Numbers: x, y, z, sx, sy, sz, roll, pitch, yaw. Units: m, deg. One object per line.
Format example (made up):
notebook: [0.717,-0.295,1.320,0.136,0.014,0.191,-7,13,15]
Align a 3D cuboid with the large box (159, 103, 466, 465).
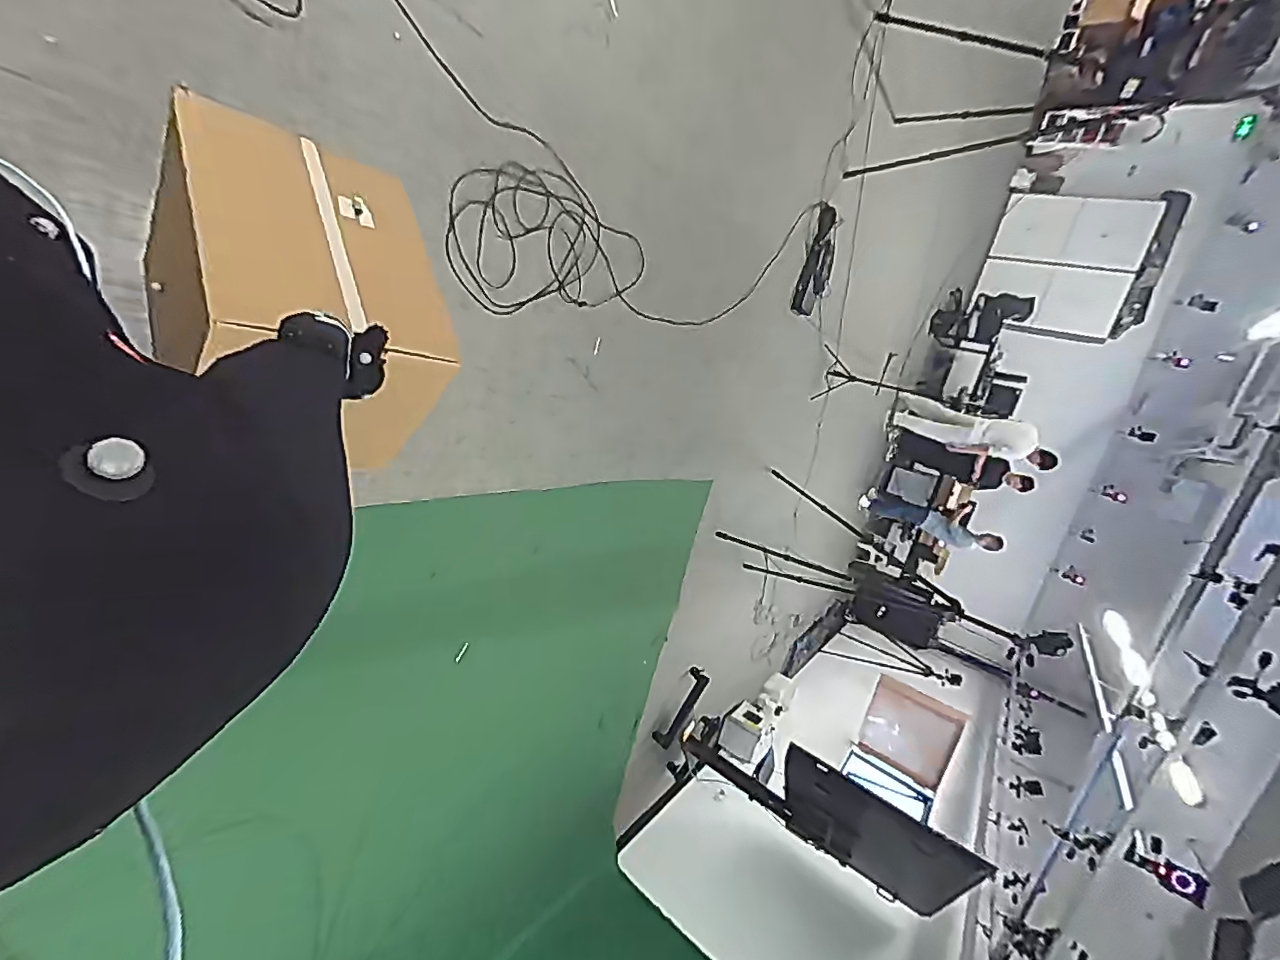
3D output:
large box: [-0.539,-0.269,0.870,0.320,0.408,0.320,0,150,-49]
